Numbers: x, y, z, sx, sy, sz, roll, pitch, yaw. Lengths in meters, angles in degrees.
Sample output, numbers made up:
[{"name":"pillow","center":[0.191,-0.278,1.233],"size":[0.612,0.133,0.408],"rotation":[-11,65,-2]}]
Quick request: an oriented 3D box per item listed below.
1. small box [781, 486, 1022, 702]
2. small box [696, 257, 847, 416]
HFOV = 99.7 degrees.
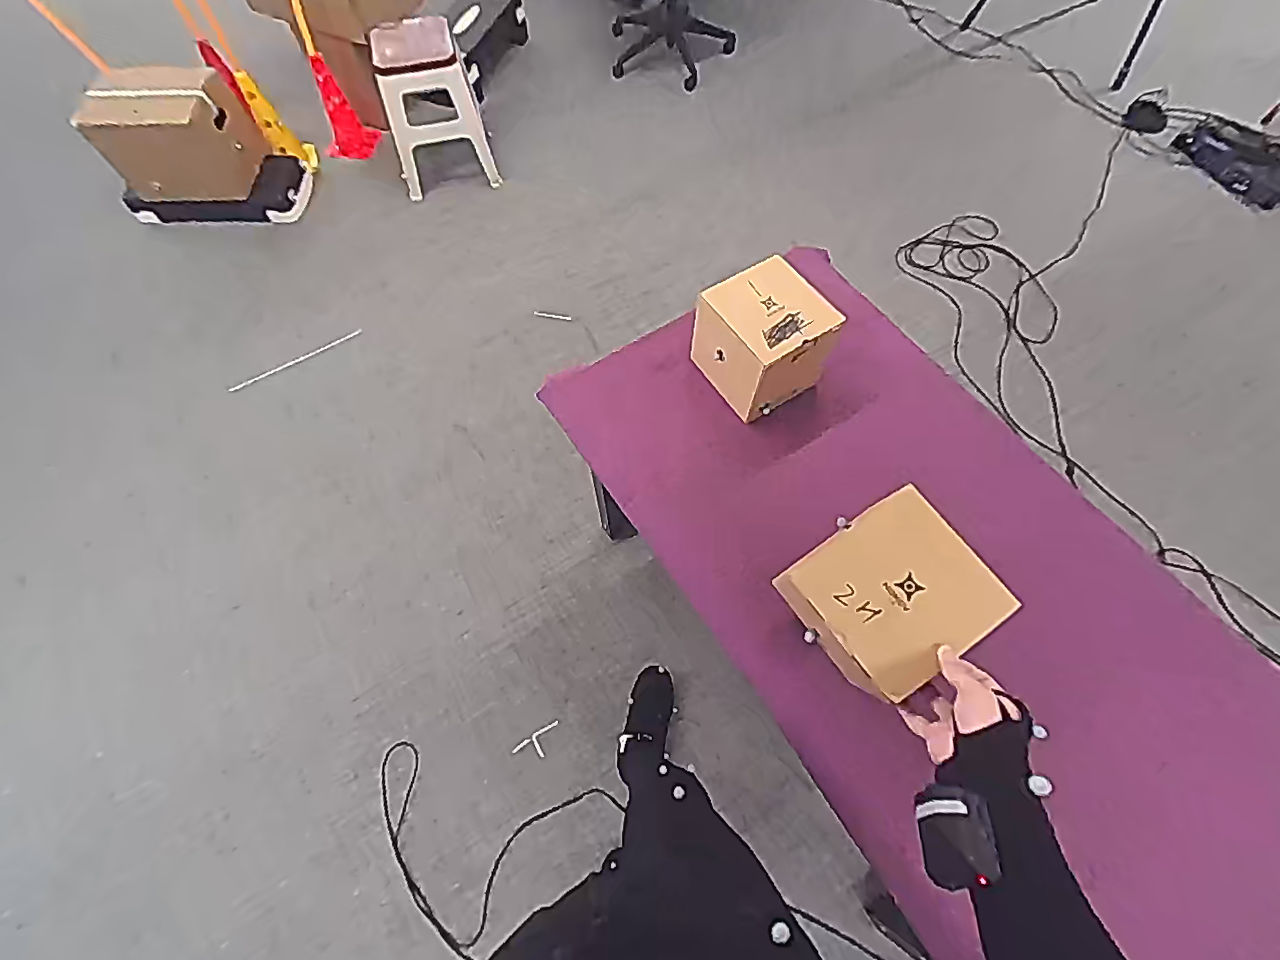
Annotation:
[{"name":"small box","center":[0.293,0.134,0.655],"size":[0.179,0.176,0.168],"rotation":[-36,75,-1]},{"name":"small box","center":[0.211,-0.233,0.922],"size":[0.168,0.176,0.179],"rotation":[-30,67,-13]}]
